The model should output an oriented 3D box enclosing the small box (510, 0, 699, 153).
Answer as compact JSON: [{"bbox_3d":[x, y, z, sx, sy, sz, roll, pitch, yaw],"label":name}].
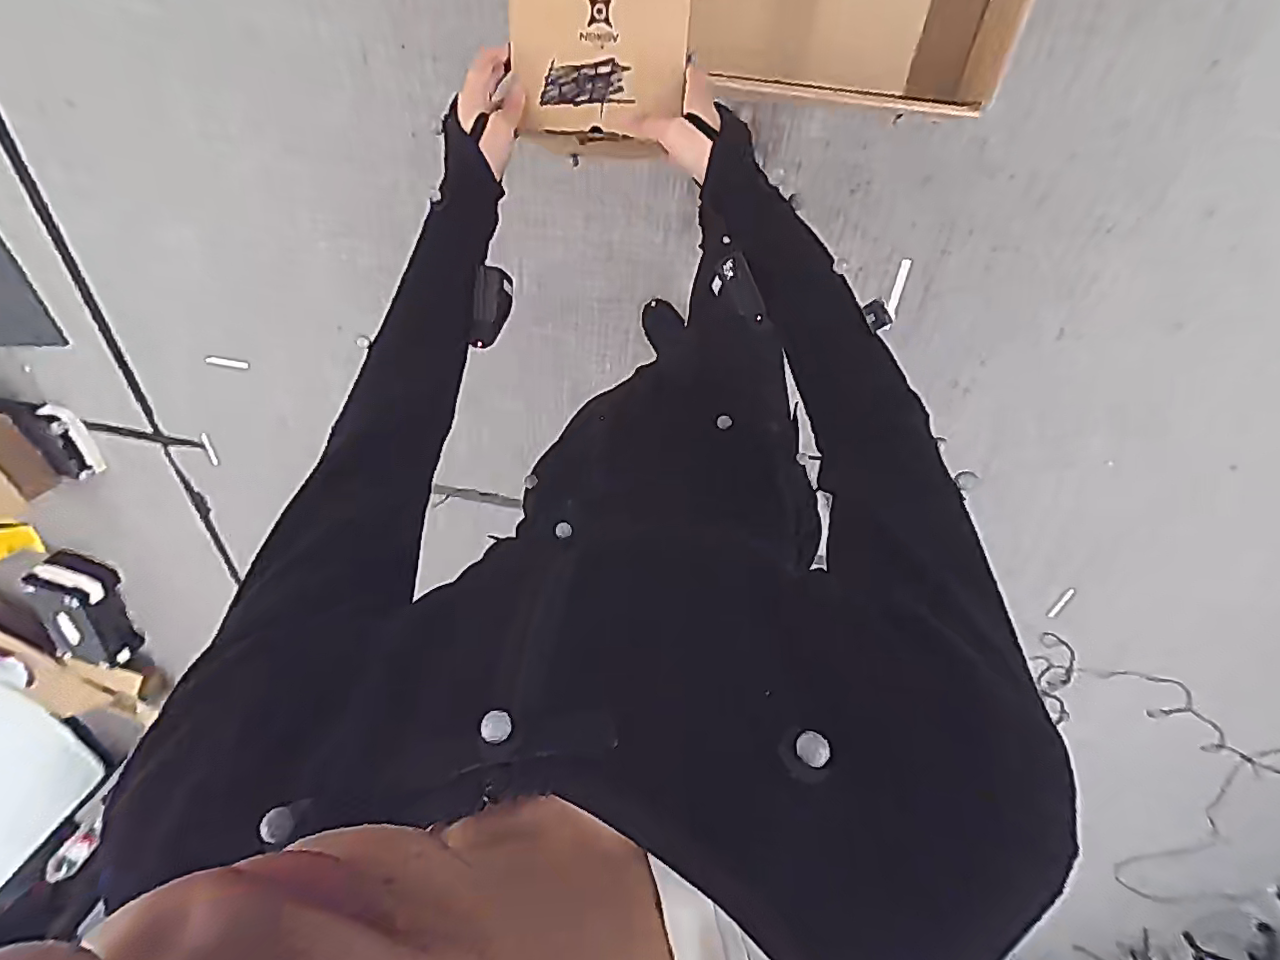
[{"bbox_3d":[-0.028,-0.448,0.555,0.168,0.176,0.179,5,114,3],"label":"small box"}]
